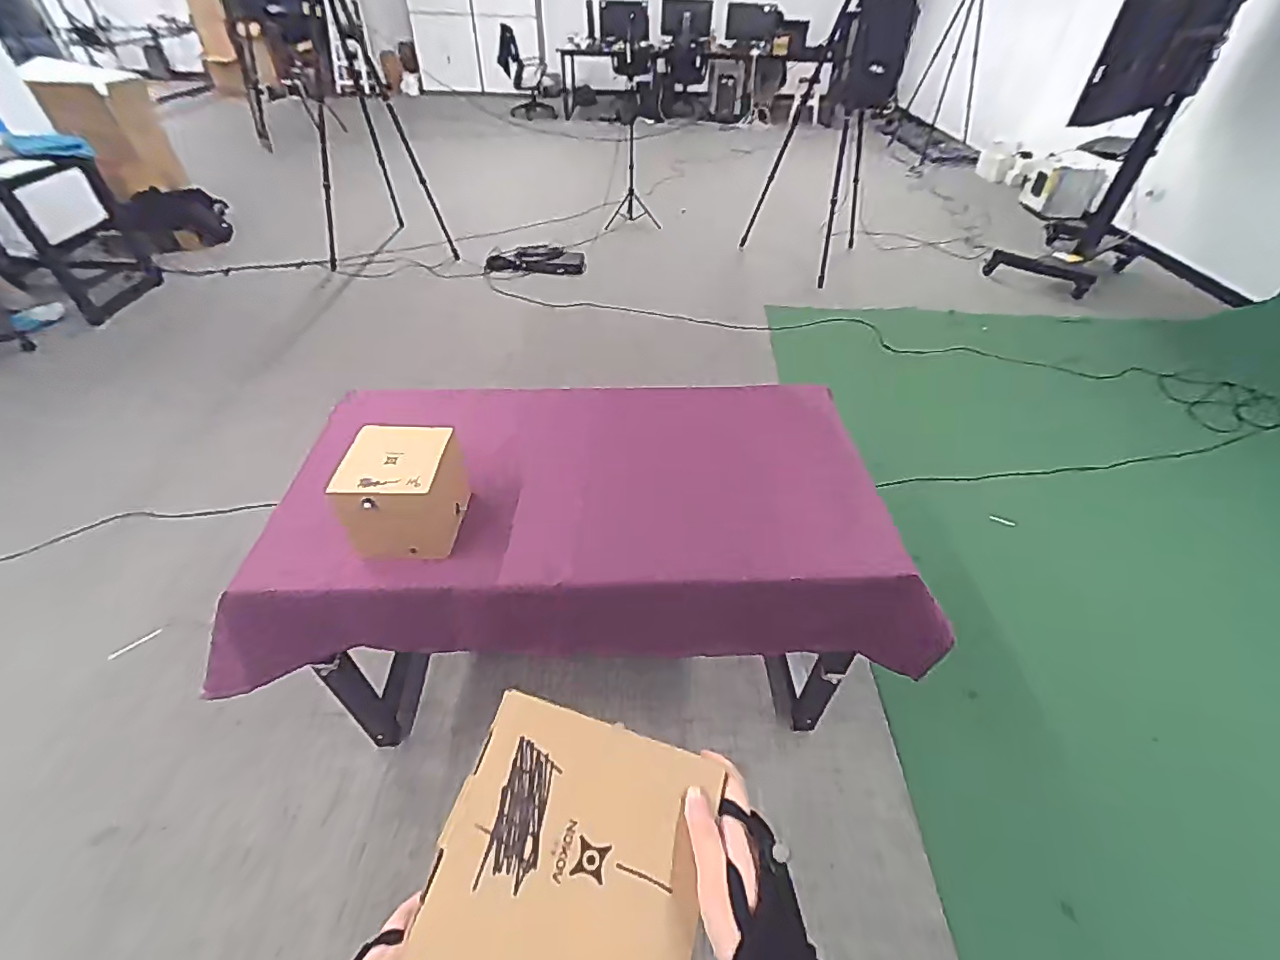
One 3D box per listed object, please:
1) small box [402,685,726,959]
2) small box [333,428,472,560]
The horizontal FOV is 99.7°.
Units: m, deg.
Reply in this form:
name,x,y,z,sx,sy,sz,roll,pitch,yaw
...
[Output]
name,x,y,z,sx,sy,sz,roll,pitch,yaw
small box,-0.052,0.289,0.433,0.179,0.176,0.168,19,57,2
small box,-0.415,0.024,0.986,0.168,0.176,0.179,1,43,0
